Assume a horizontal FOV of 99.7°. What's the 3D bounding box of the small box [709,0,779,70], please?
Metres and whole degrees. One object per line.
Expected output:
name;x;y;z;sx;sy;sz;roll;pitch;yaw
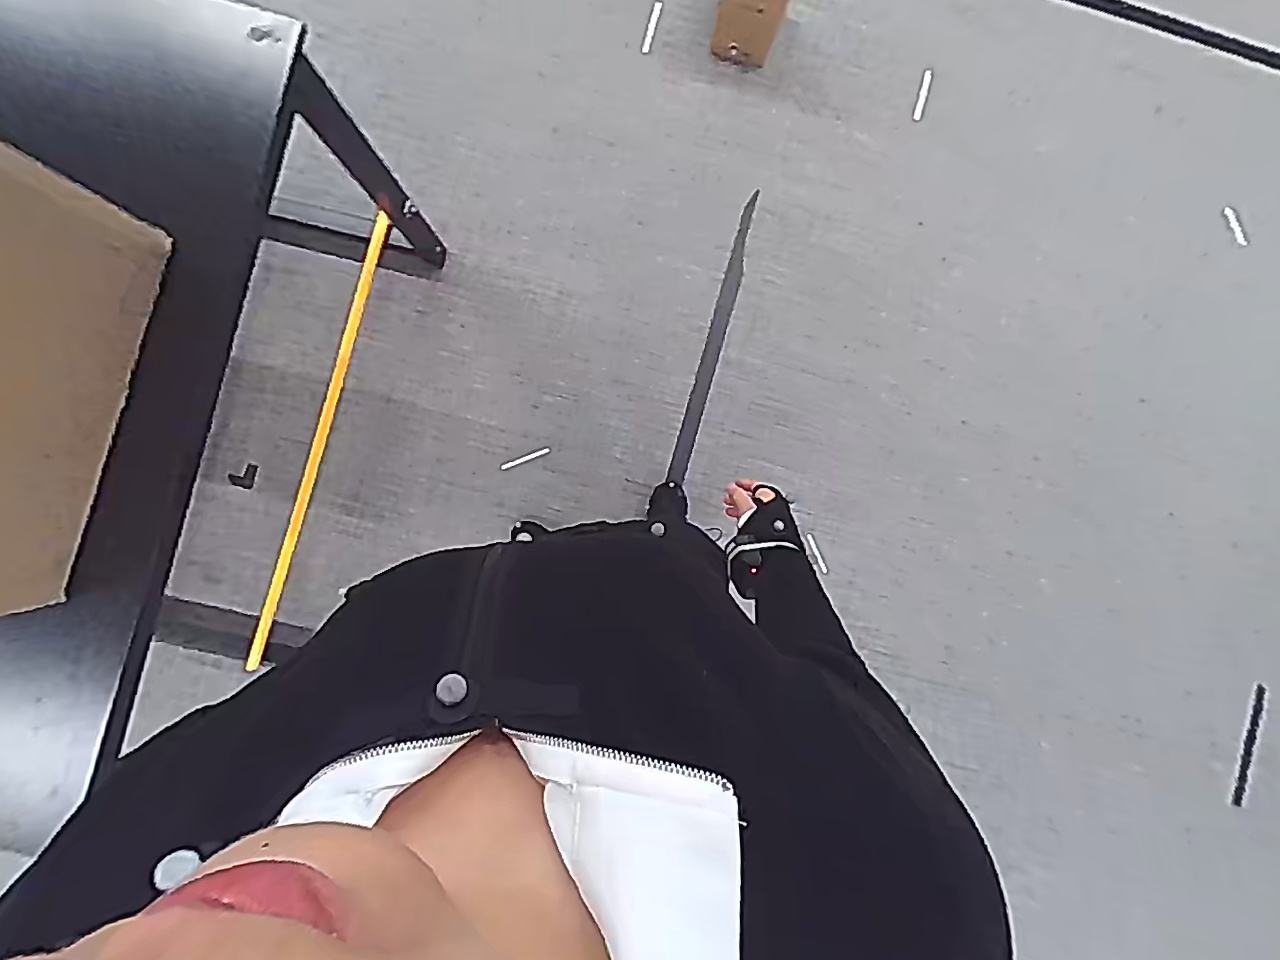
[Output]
small box;0.293;-1.268;1.457;0.168;0.176;0.179;14;90;-1

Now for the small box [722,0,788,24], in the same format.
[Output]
small box;0.299;-1.253;1.293;0.168;0.176;0.179;15;89;-2
